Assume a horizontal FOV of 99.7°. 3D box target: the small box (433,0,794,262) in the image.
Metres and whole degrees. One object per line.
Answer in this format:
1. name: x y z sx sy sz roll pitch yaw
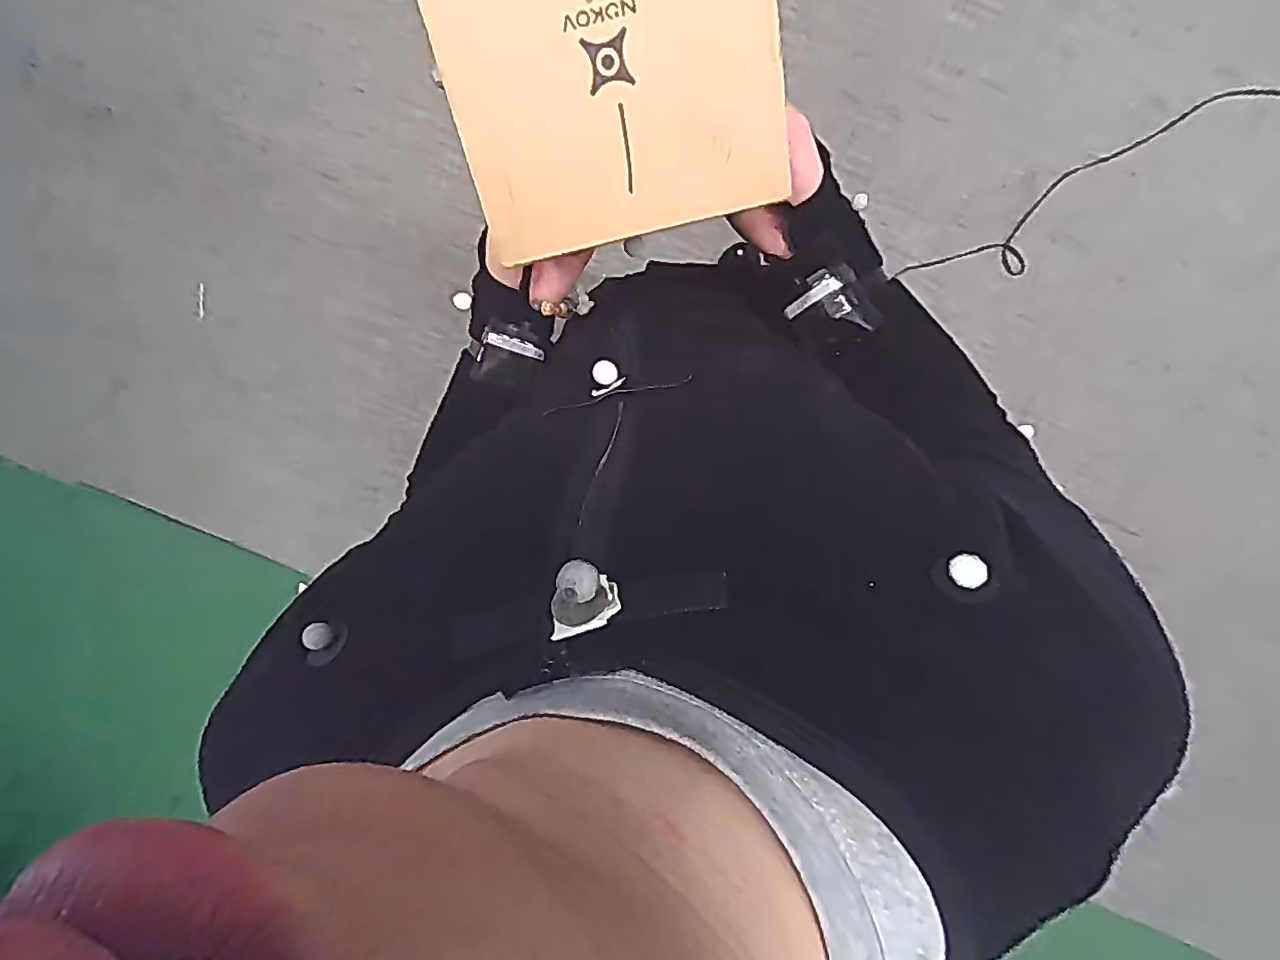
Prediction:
1. small box: -0.014 -0.247 0.334 0.168 0.176 0.179 -11 116 4
